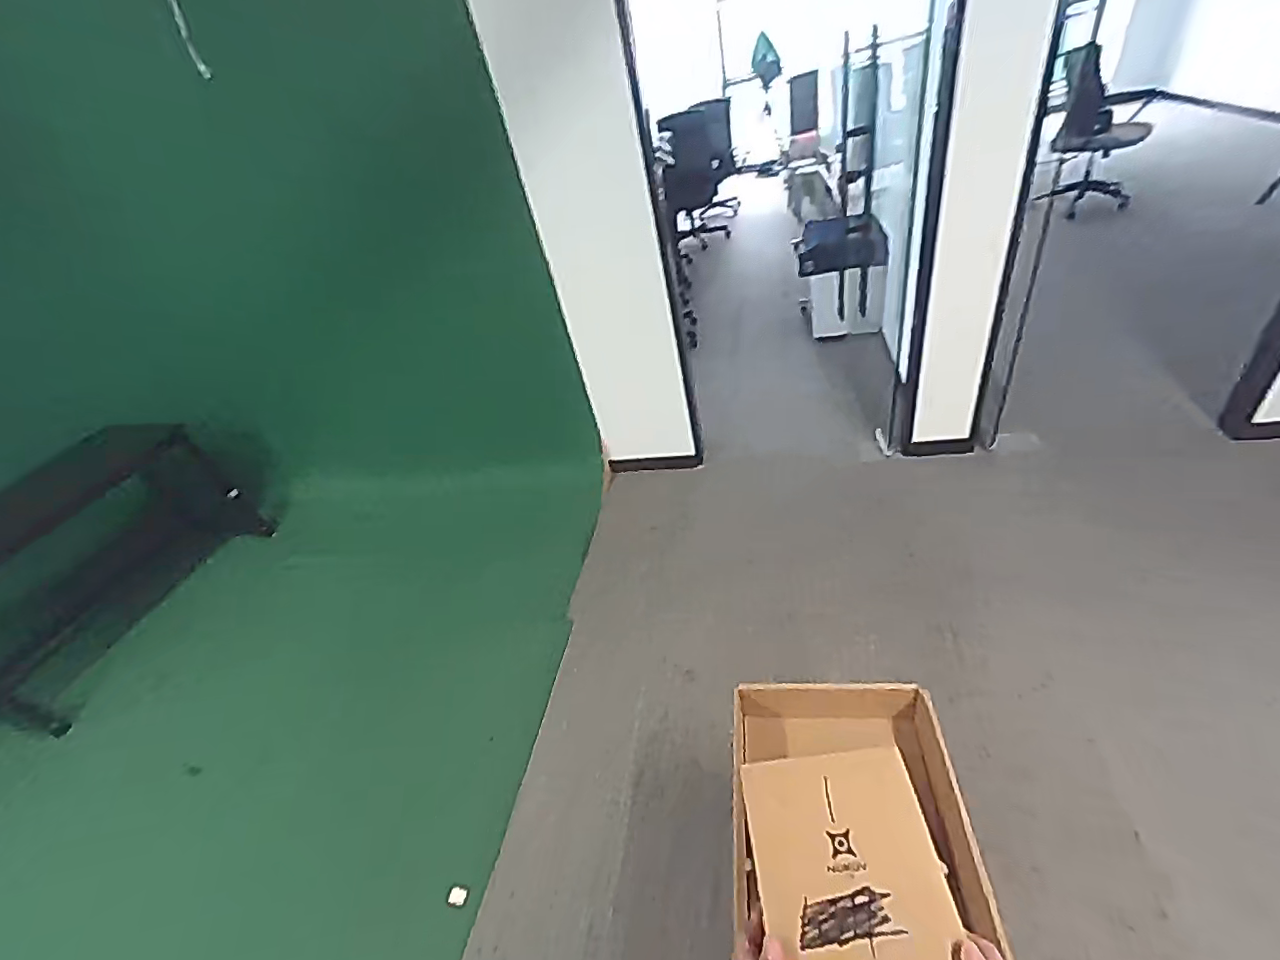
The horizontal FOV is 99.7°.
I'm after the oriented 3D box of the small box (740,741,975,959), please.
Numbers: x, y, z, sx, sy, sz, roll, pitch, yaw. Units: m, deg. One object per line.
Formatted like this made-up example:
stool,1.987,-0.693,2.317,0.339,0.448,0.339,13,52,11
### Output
small box,0.206,0.395,0.557,0.168,0.176,0.179,-11,46,7
